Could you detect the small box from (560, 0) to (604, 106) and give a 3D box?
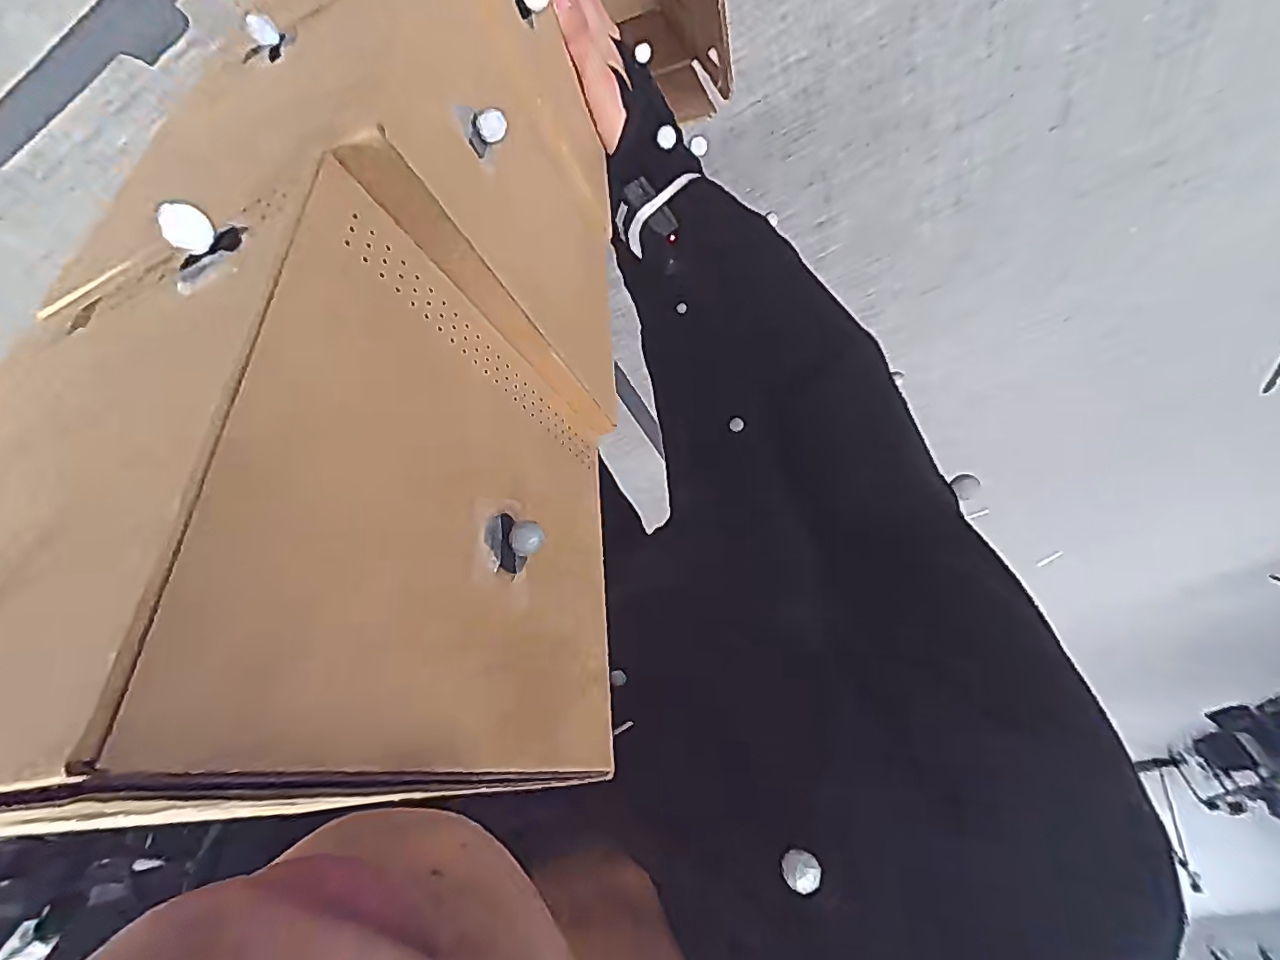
[{"bbox_3d":[-0.141,-0.403,0.445,0.168,0.176,0.179,-16,148,18],"label":"small box"}]

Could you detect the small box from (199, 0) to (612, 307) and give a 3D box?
[{"bbox_3d":[-0.130,-0.260,0.365,0.168,0.176,0.179,-14,150,15],"label":"small box"}]
